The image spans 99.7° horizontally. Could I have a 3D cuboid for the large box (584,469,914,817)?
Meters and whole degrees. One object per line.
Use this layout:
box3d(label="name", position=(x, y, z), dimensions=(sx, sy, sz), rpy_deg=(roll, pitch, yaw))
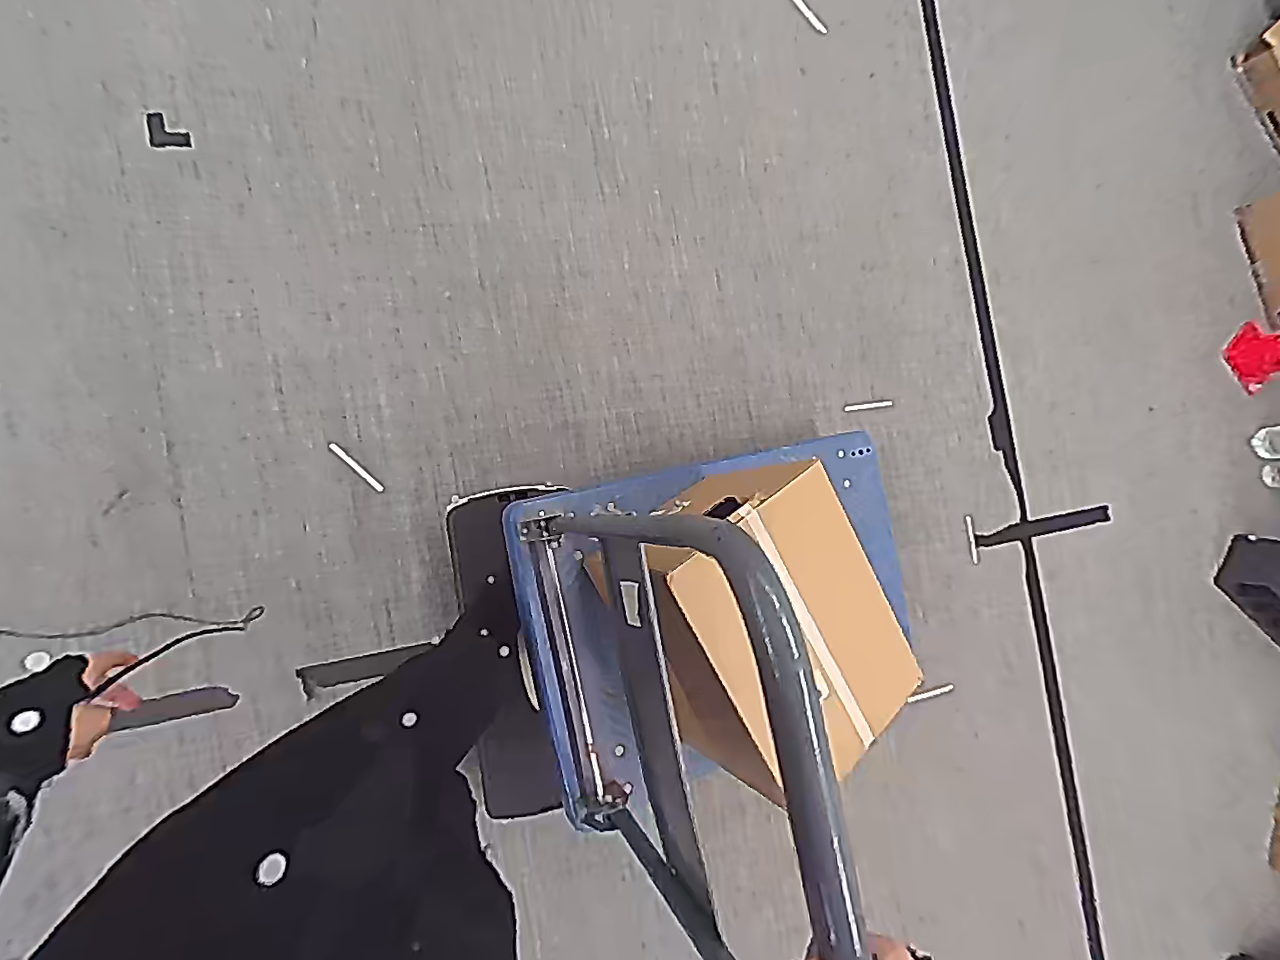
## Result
box3d(label="large box", position=(0.170, 0.236, 0.911), dimensions=(0.320, 0.320, 0.408), rpy_deg=(-32, 100, -25))
